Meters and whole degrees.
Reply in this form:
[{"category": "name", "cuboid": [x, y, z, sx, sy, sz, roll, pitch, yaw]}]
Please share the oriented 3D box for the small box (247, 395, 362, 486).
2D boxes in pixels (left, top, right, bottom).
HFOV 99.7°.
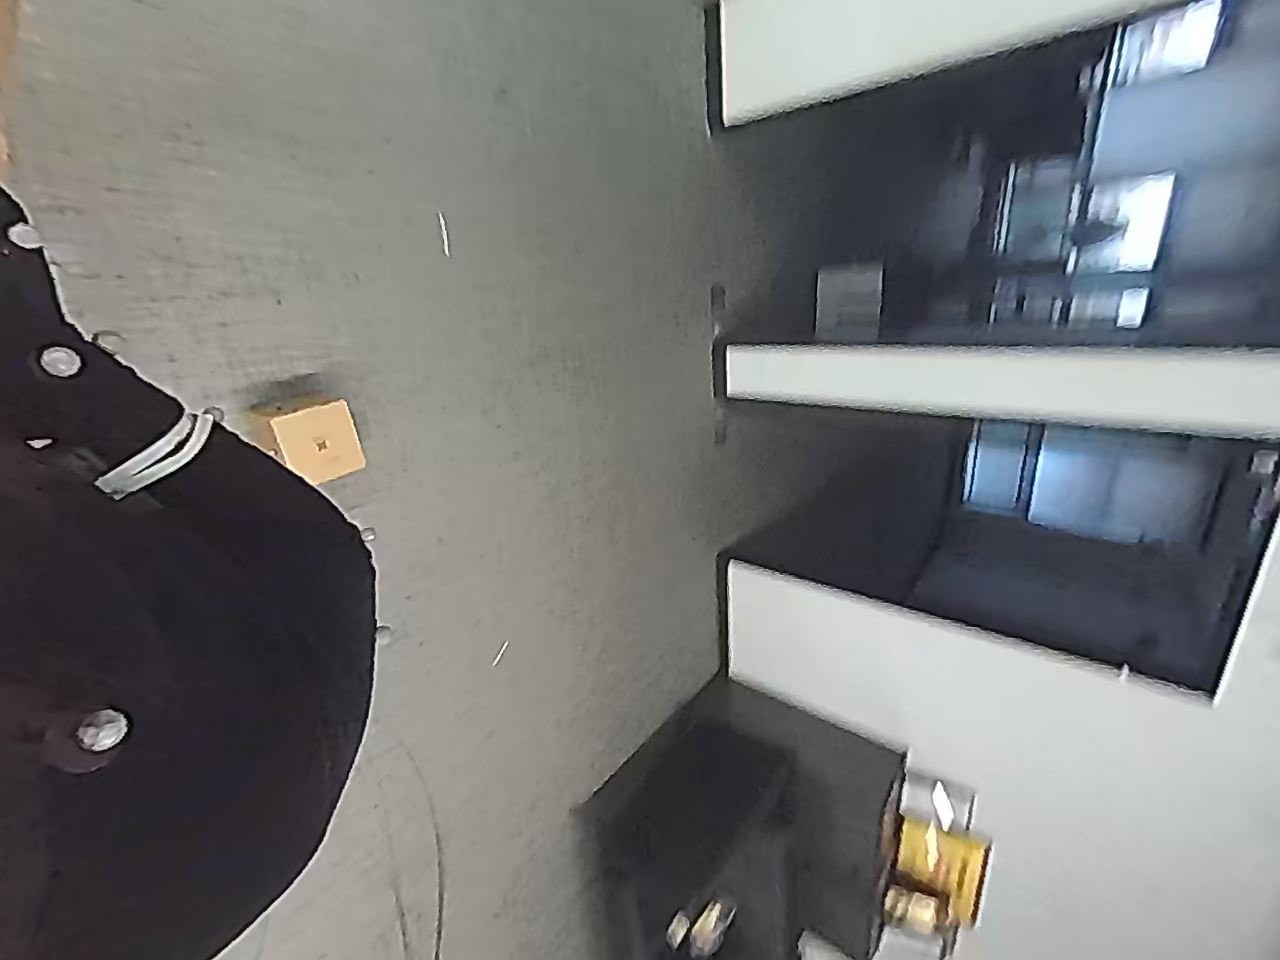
[{"category": "small box", "cuboid": [-0.810, -0.104, 1.303, 0.168, 0.176, 0.179, -28, 121, -44]}]
